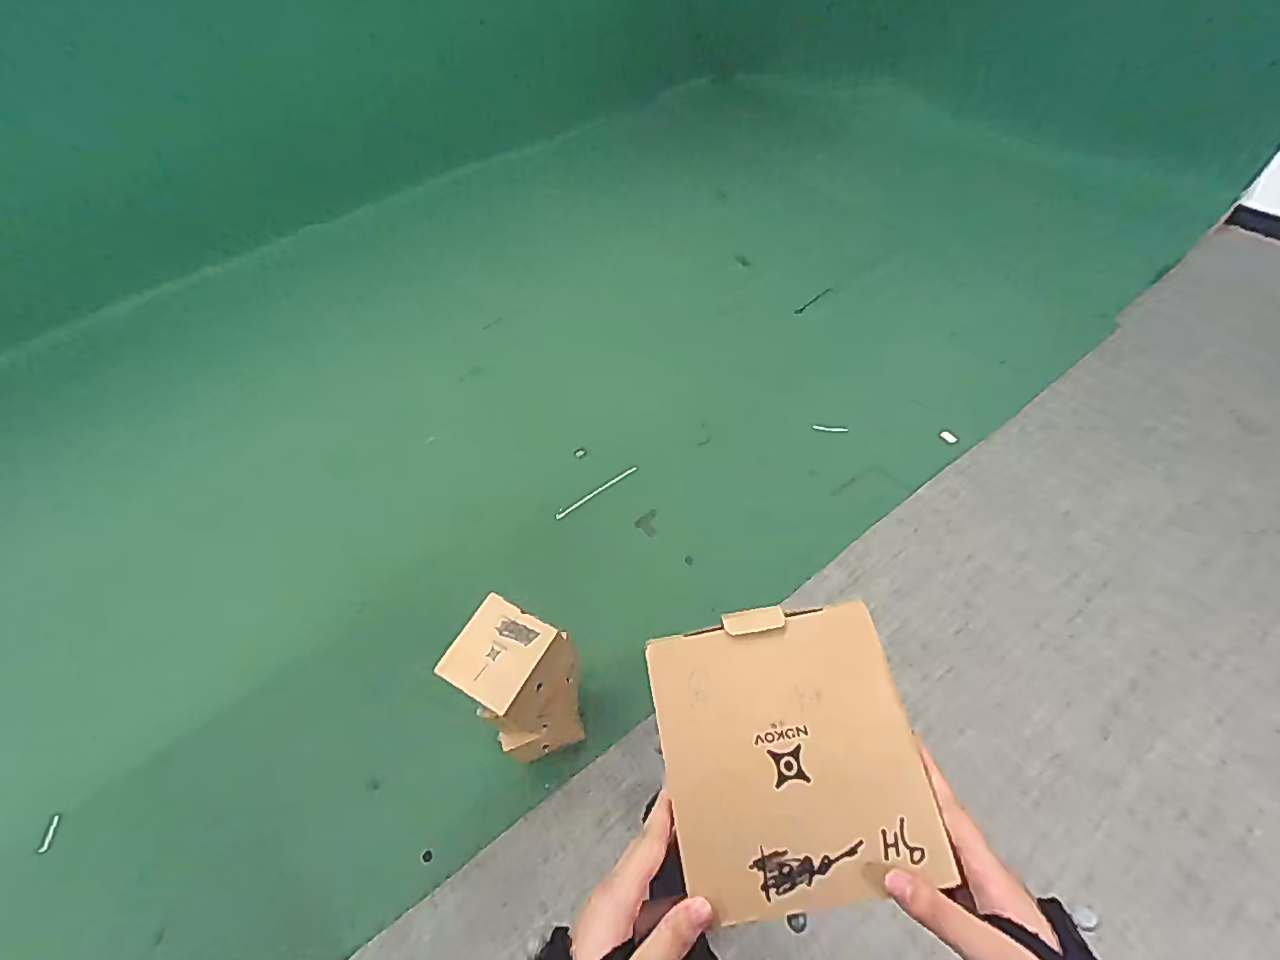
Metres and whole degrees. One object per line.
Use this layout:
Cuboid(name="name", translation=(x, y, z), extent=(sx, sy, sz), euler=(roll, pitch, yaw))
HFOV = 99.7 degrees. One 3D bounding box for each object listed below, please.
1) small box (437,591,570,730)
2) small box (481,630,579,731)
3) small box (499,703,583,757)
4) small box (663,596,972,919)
Cuboid(name="small box", translation=(-0.252, 0.353, 1.051), extent=(0.168, 0.176, 0.179), euler=(24, 61, 20))
Cuboid(name="small box", translation=(-0.231, 0.444, 1.187), extent=(0.168, 0.176, 0.179), euler=(-2, 54, 3))
Cuboid(name="small box", translation=(-0.246, 0.551, 1.312), extent=(0.168, 0.176, 0.179), euler=(-19, 55, -8))
Cuboid(name="small box", translation=(0.115, 0.206, 0.433), extent=(0.168, 0.176, 0.179), euler=(-11, 67, 2))
